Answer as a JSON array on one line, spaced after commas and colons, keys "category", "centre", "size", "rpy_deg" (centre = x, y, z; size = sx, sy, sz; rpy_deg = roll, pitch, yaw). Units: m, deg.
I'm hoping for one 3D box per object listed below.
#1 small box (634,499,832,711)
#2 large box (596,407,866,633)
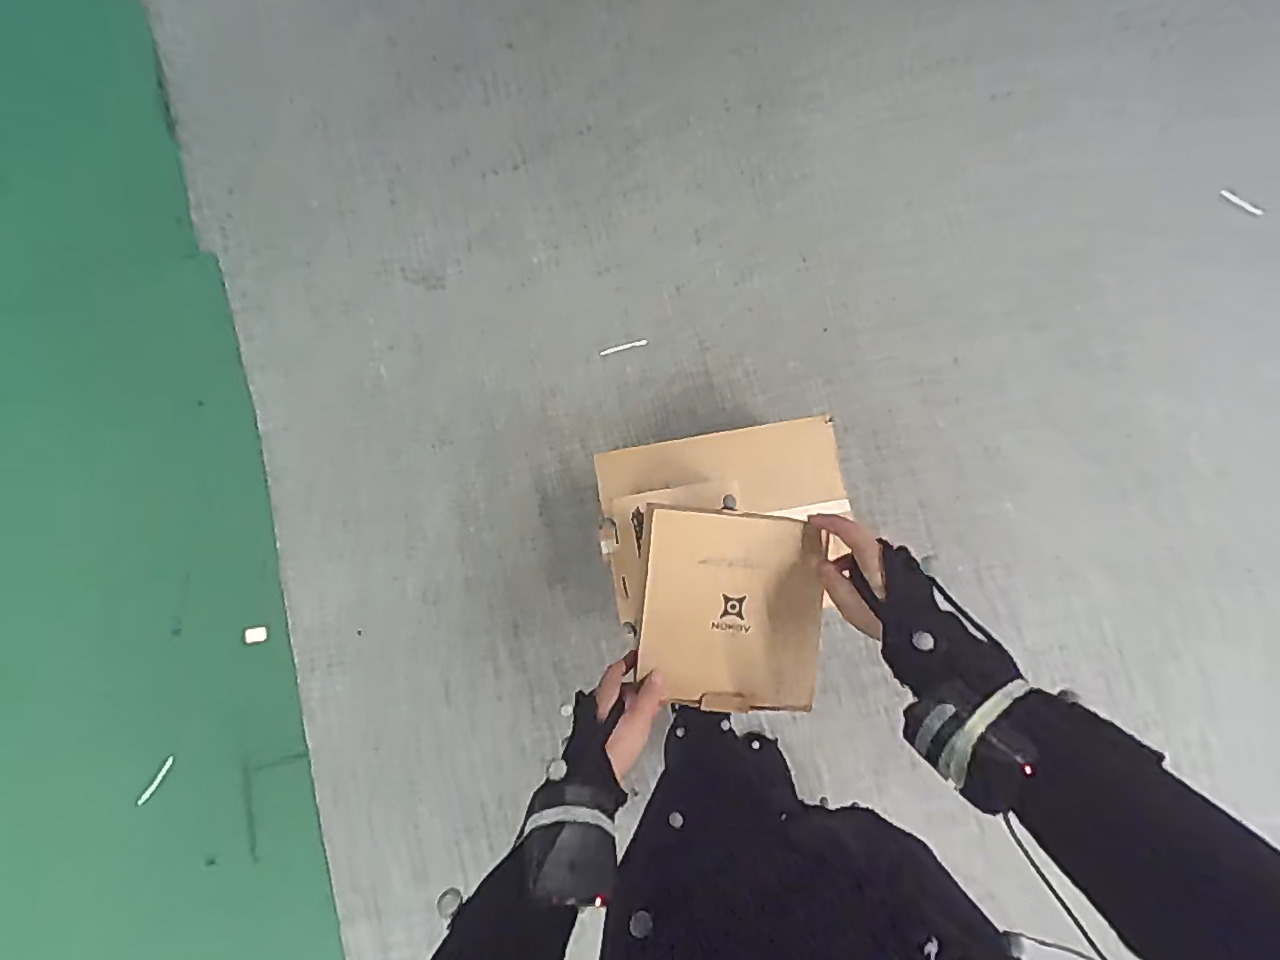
[{"category": "small box", "centre": [0.083, 0.116, 0.569], "size": [0.168, 0.176, 0.179], "rpy_deg": [5, 90, -2]}, {"category": "large box", "centre": [0.149, 0.078, 1.038], "size": [0.408, 0.320, 0.320], "rpy_deg": [-10, 85, 0]}]
